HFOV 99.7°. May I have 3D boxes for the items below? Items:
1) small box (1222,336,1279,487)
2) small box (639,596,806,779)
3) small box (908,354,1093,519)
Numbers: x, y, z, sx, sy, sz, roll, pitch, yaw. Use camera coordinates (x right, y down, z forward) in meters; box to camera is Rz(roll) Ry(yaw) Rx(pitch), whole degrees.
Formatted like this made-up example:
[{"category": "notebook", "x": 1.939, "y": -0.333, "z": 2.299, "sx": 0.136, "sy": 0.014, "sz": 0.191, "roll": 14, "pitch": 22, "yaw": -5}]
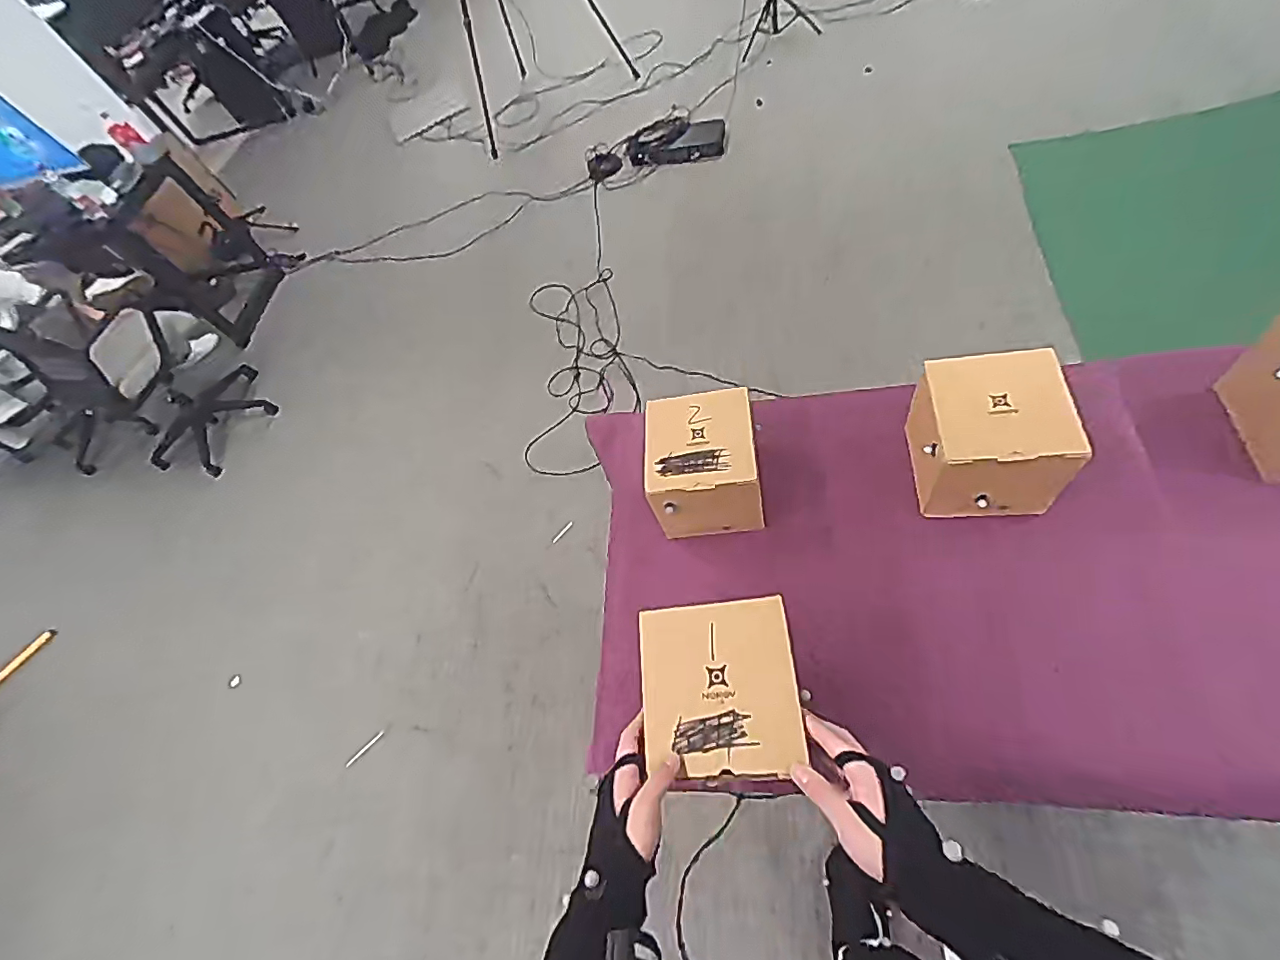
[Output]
[{"category": "small box", "x": 0.919, "y": -0.104, "z": 0.691, "sx": 0.168, "sy": 0.176, "sz": 0.179, "roll": -3, "pitch": 61, "yaw": 17}, {"category": "small box", "x": 0.100, "y": 0.249, "z": 0.639, "sx": 0.168, "sy": 0.176, "sz": 0.179, "roll": -9, "pitch": 62, "yaw": 13}, {"category": "small box", "x": 0.505, "y": -0.057, "z": 0.791, "sx": 0.168, "sy": 0.176, "sz": 0.179, "roll": -3, "pitch": 61, "yaw": 14}]
